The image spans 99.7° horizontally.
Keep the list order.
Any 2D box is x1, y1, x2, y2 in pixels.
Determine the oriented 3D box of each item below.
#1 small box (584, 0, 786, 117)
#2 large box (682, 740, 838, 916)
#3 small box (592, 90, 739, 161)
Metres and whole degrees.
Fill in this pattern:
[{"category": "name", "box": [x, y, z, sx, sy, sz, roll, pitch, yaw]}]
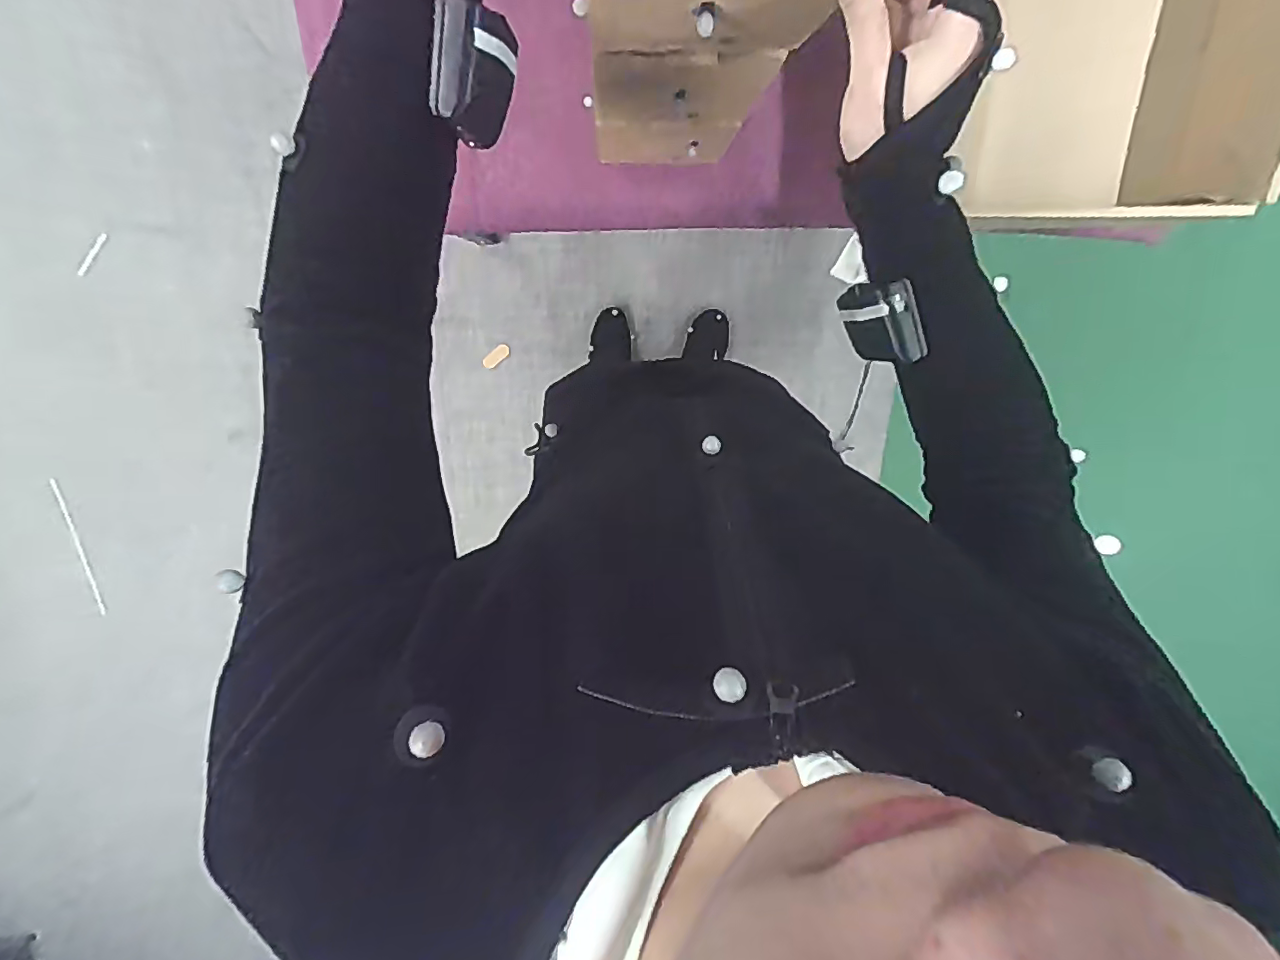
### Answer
[{"category": "small box", "box": [0.034, -0.453, 0.493, 0.168, 0.176, 0.179, -2, 108, -2]}, {"category": "large box", "box": [0.406, 1.221, 1.919, 0.408, 0.320, 0.320, -32, 107, 7]}, {"category": "small box", "box": [0.028, -0.499, 0.650, 0.168, 0.176, 0.179, -1, 107, -2]}]
